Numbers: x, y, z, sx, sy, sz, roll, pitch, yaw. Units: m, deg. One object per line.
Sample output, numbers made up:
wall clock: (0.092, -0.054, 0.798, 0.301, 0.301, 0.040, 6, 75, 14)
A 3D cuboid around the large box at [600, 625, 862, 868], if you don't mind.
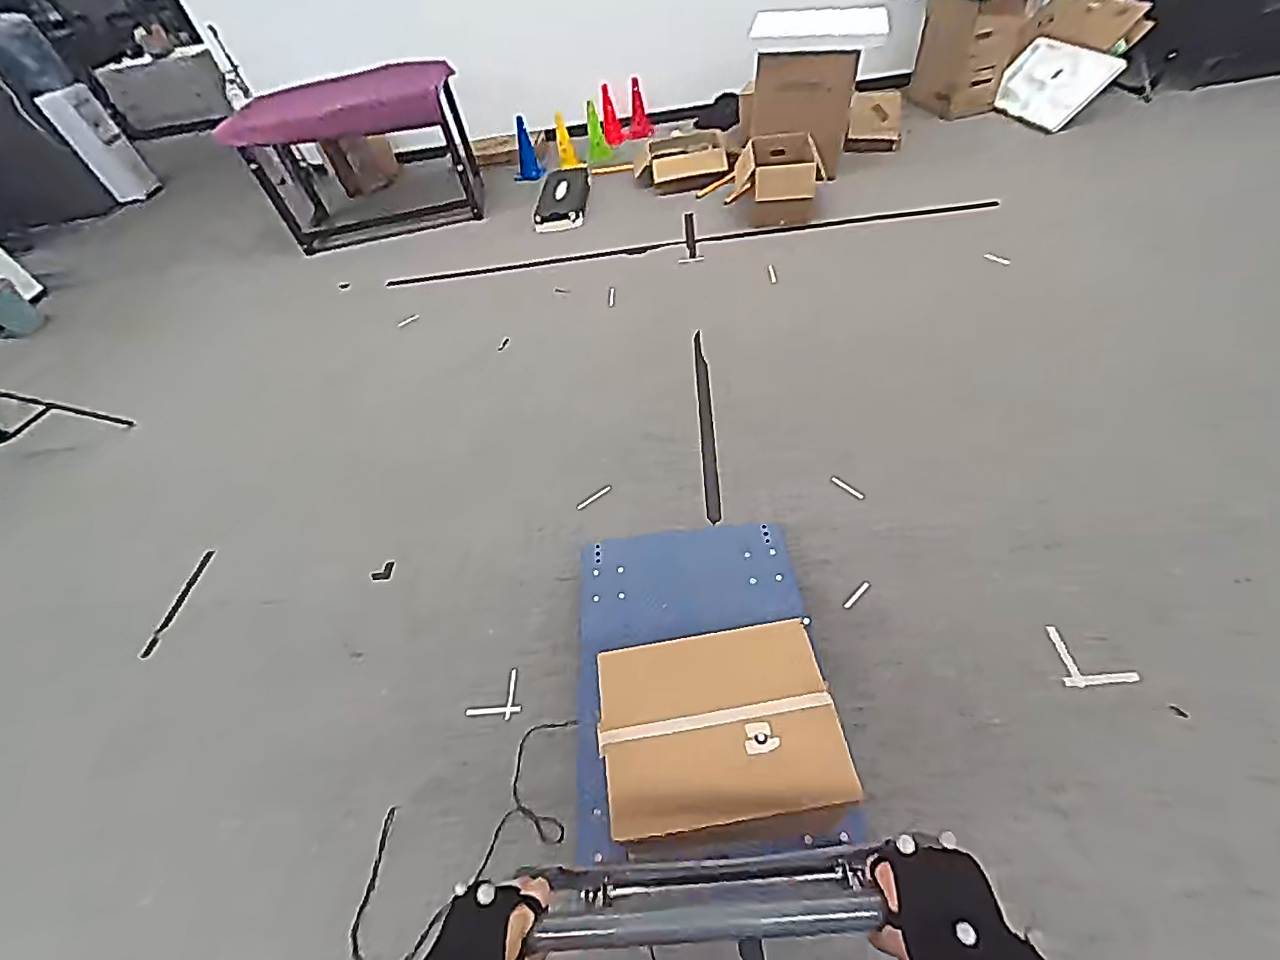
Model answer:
large box: (0.154, 0.527, 1.060, 0.408, 0.320, 0.320, -10, 50, 0)
